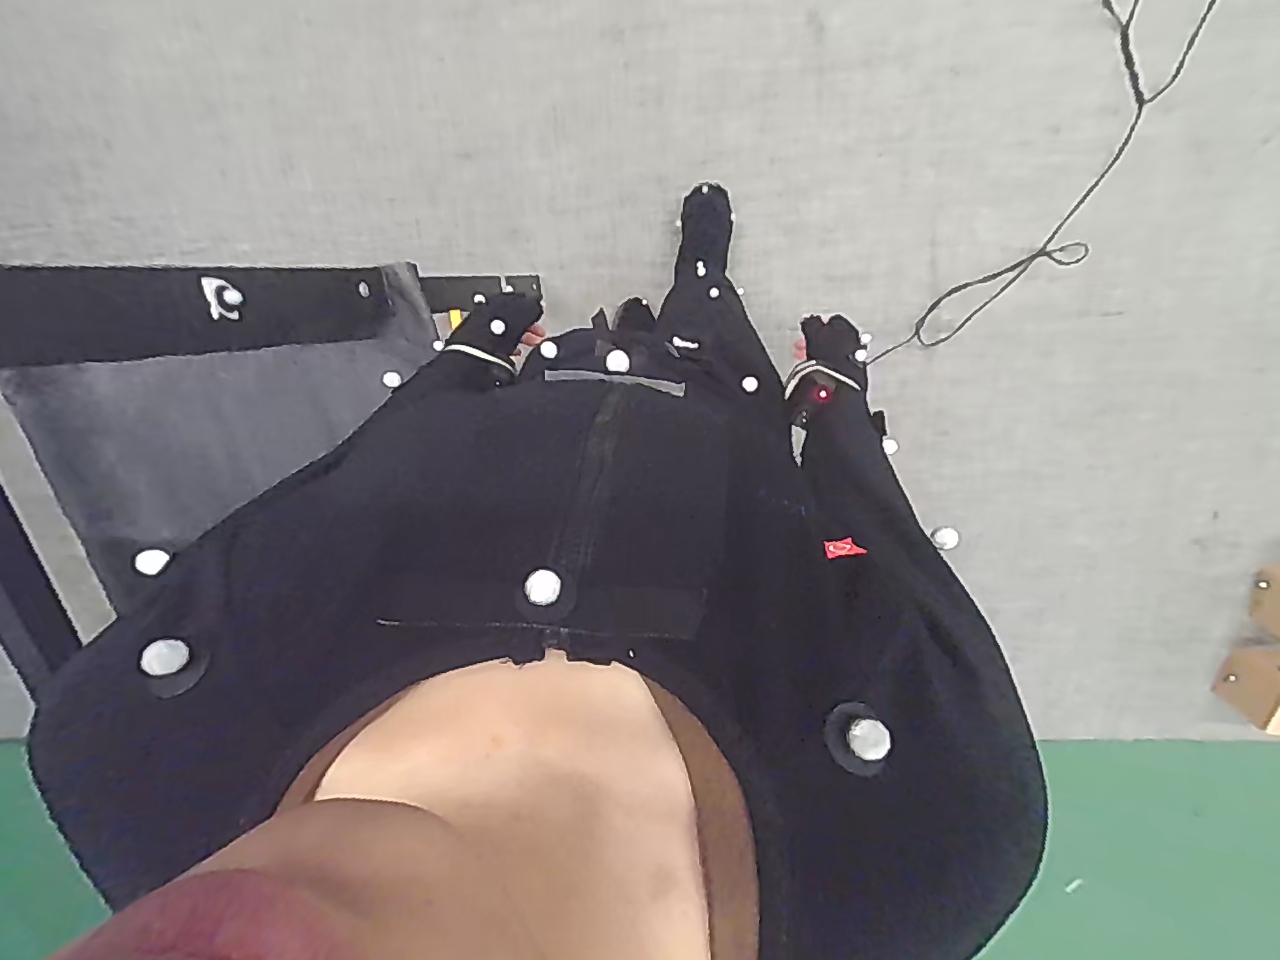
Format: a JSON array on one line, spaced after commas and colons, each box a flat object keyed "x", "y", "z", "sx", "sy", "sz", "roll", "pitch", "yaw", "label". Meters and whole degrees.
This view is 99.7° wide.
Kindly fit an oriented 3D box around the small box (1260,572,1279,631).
[{"x": 1.814, "y": 0.340, "z": 1.421, "sx": 0.179, "sy": 0.176, "sz": 0.168, "roll": -9, "pitch": 110, "yaw": 7, "label": "small box"}]
